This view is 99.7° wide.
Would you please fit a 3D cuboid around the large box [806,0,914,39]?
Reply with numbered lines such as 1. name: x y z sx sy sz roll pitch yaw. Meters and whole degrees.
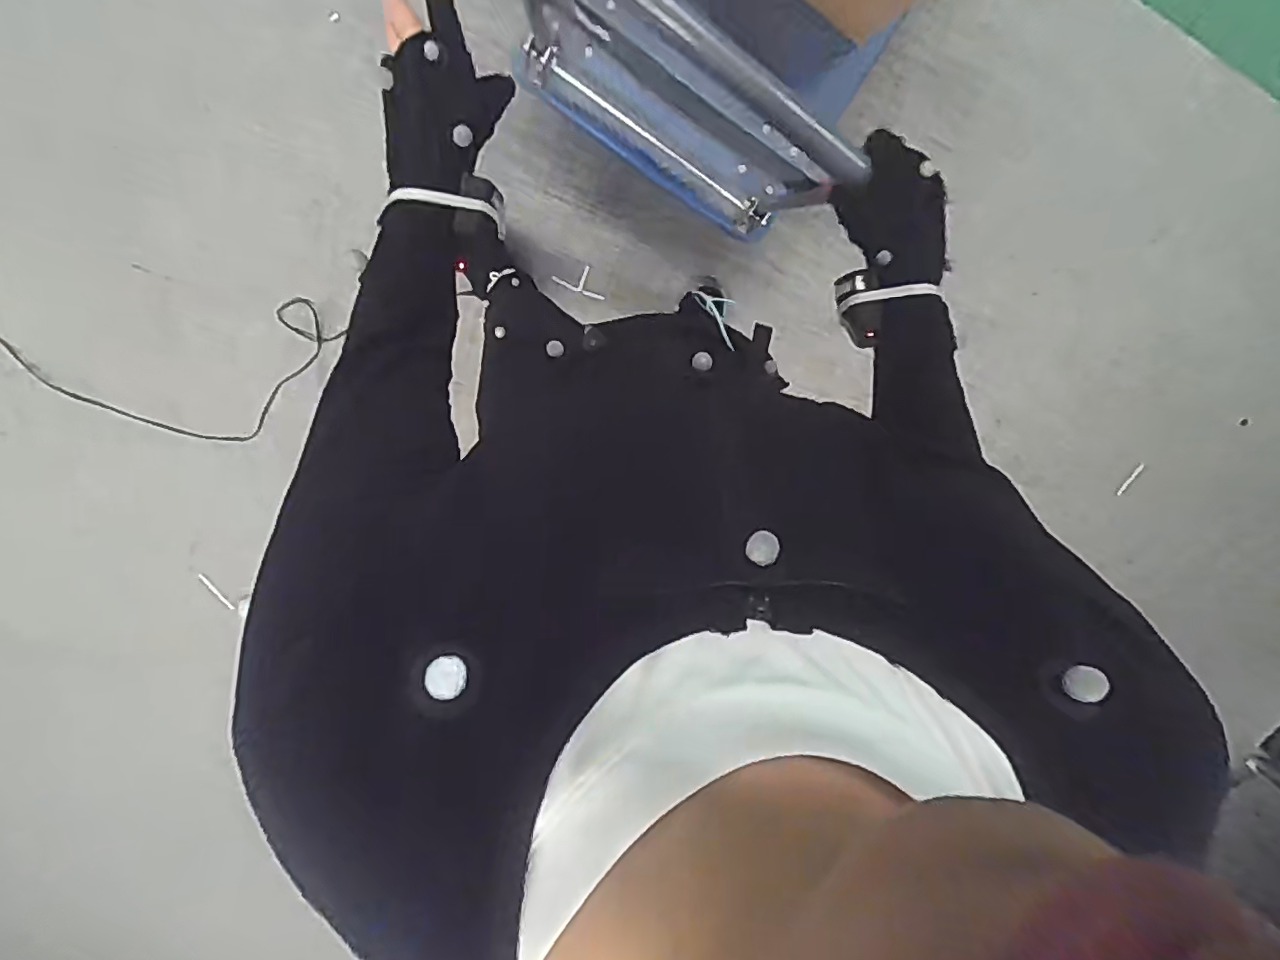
1. large box: 0.318 -0.960 0.781 0.408 0.320 0.320 26 109 -14
